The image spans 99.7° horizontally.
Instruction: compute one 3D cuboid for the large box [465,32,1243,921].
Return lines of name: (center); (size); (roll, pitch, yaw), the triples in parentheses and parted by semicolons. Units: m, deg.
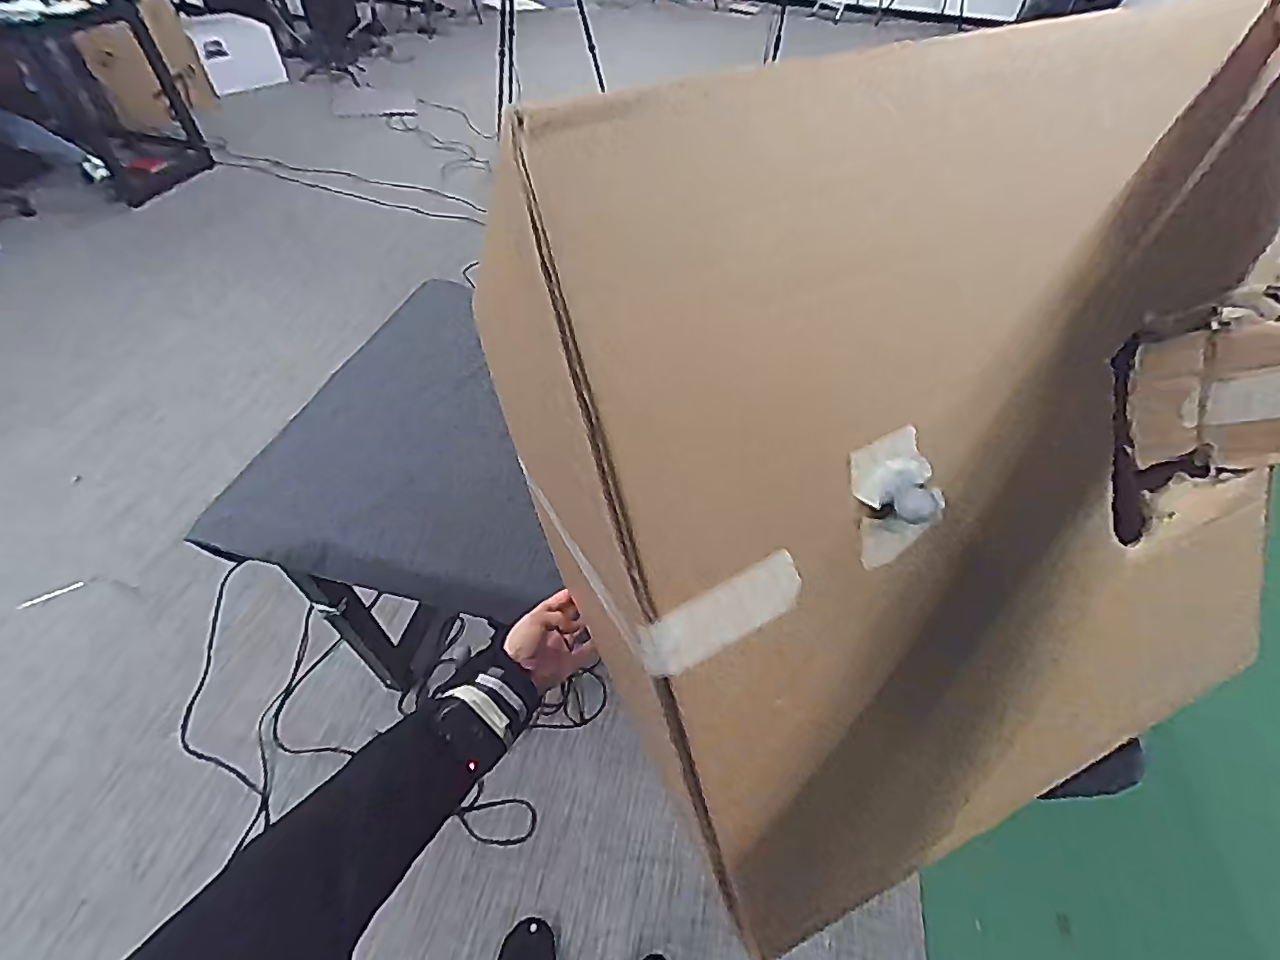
large box: (0.082, -0.033, 0.402); (0.320, 0.320, 0.408); (-21, 17, -16)
